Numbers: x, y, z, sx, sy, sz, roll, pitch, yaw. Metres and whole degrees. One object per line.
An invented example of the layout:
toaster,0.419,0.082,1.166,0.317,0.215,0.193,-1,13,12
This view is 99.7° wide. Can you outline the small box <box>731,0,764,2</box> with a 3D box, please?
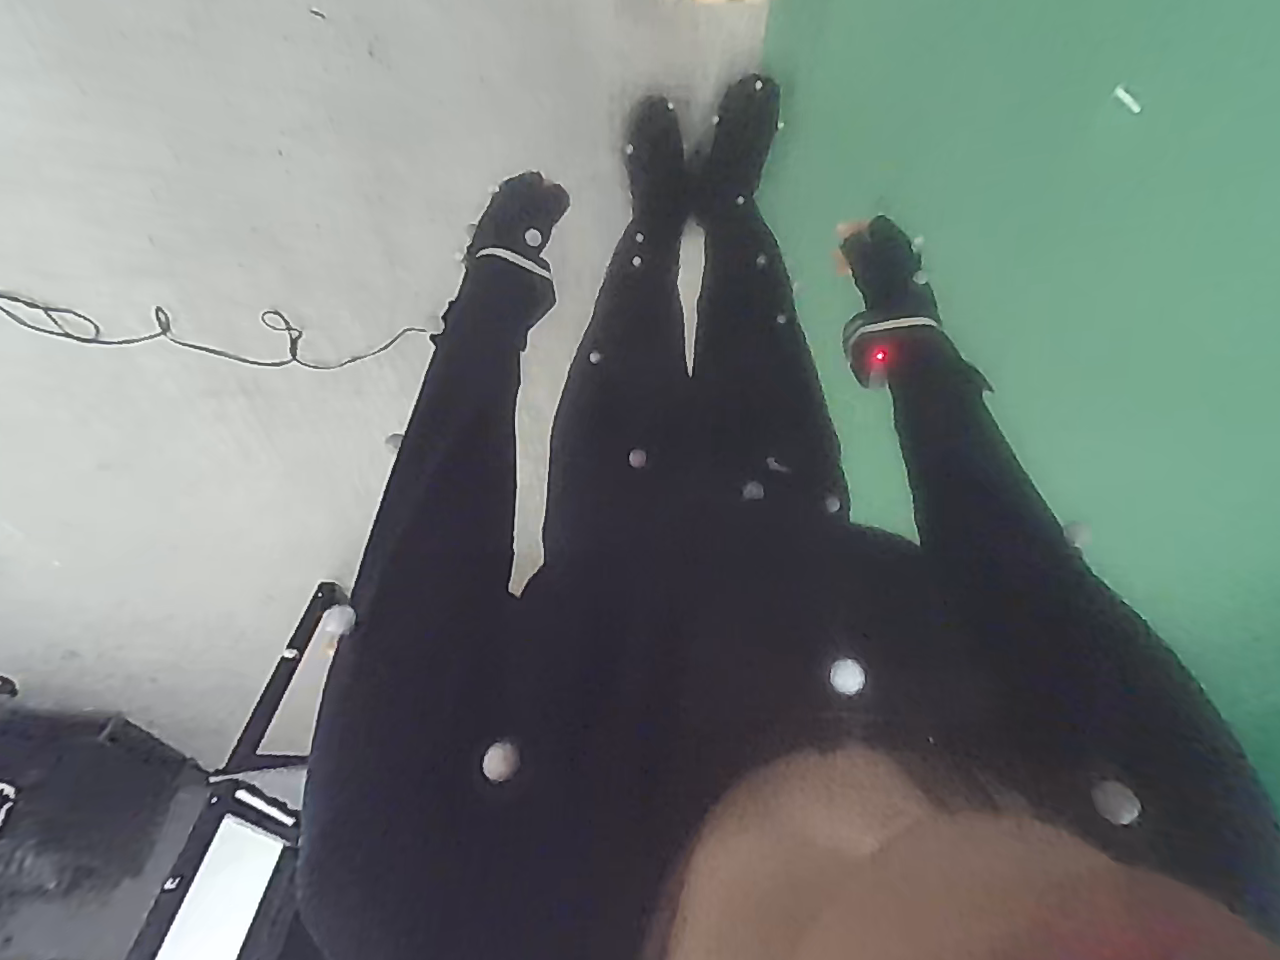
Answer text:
small box,0.110,-0.834,0.802,0.168,0.176,0.179,2,135,0
